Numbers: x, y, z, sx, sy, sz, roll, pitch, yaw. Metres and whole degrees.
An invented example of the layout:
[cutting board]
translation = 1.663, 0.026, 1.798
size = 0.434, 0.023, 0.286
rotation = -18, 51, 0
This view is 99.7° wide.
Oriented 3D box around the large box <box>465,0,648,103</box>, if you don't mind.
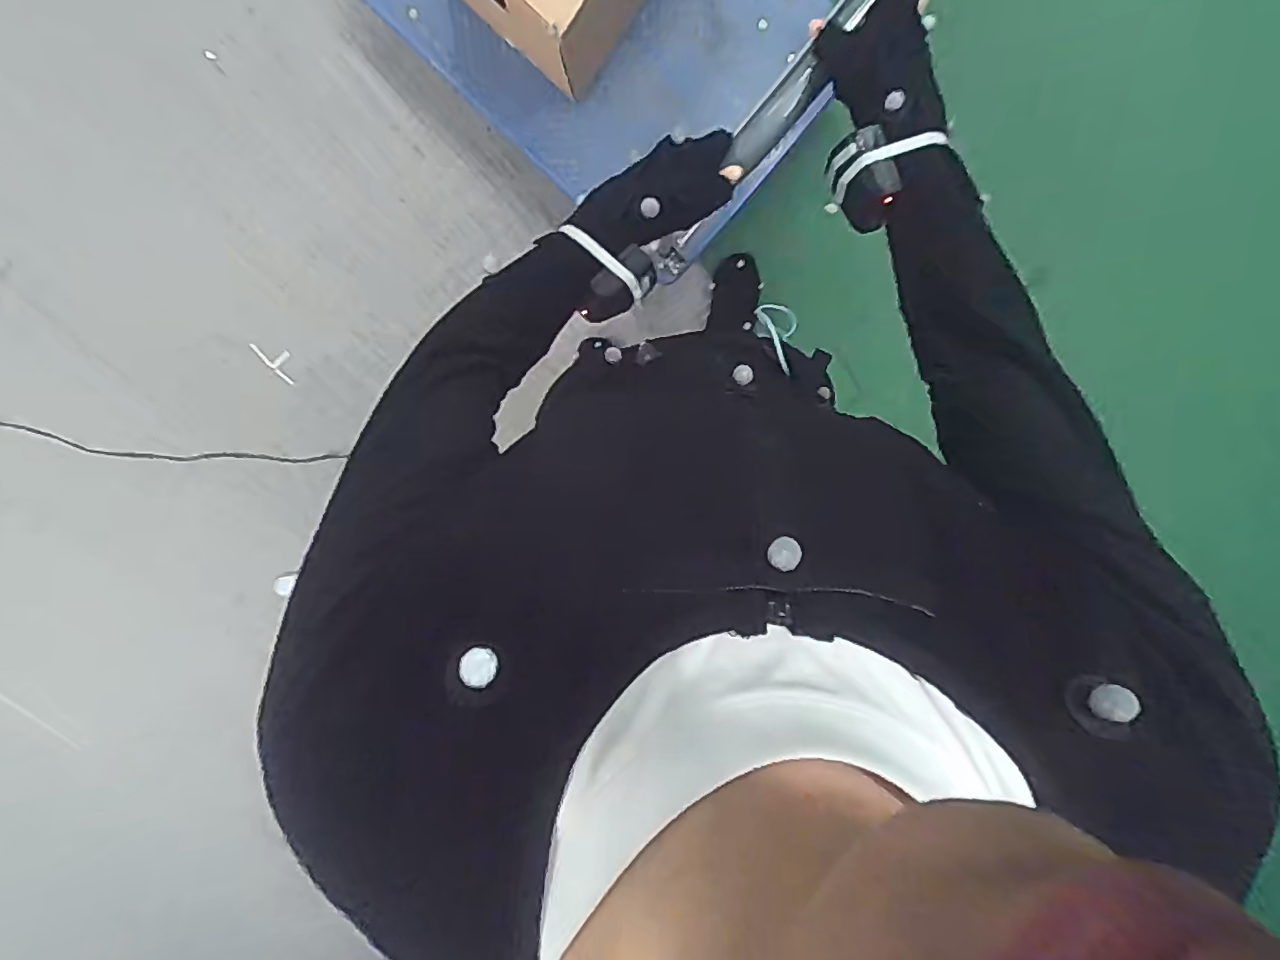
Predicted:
[large box]
translation = -0.109, -0.919, 0.840
size = 0.320, 0.320, 0.408
rotation = 37, 105, -13
